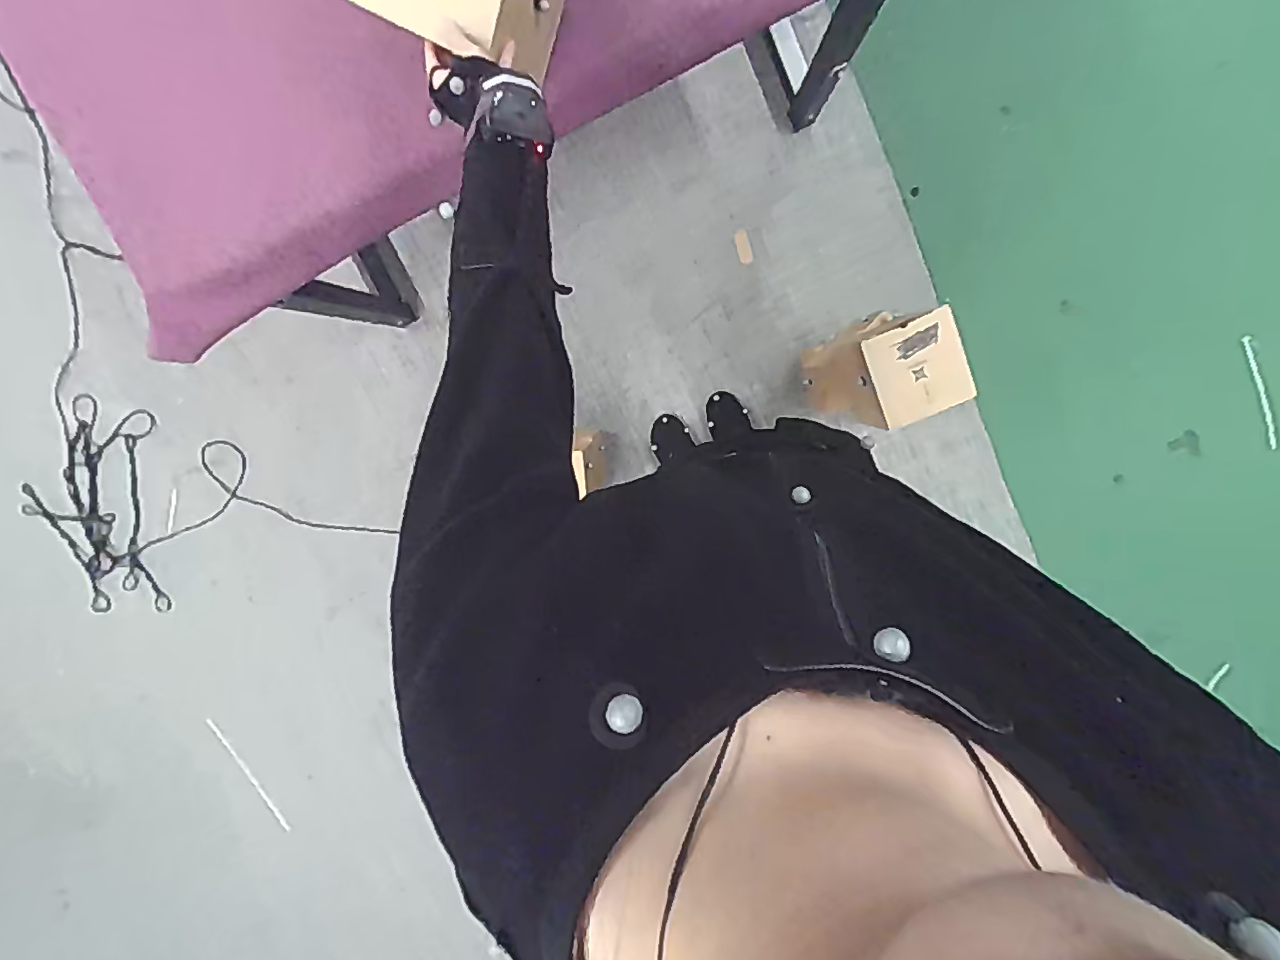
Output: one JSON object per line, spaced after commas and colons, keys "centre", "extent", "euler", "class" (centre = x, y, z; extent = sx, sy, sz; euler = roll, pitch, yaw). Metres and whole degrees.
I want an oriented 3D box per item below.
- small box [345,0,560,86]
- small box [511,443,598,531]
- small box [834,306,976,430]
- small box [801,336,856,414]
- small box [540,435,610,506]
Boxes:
{"centre": [-0.186, -0.549, 0.570], "extent": [0.179, 0.176, 0.168], "euler": [25, 118, -3], "class": "small box"}
{"centre": [-0.196, 0.013, 1.287], "extent": [0.168, 0.176, 0.179], "euler": [-3, 101, 4], "class": "small box"}
{"centre": [0.497, -0.211, 1.039], "extent": [0.168, 0.176, 0.179], "euler": [-23, 100, 6], "class": "small box"}
{"centre": [0.516, -0.268, 1.362], "extent": [0.179, 0.176, 0.168], "euler": [-14, 100, 6], "class": "small box"}
{"centre": [-0.181, -0.023, 1.444], "extent": [0.168, 0.176, 0.179], "euler": [-9, 101, 5], "class": "small box"}
